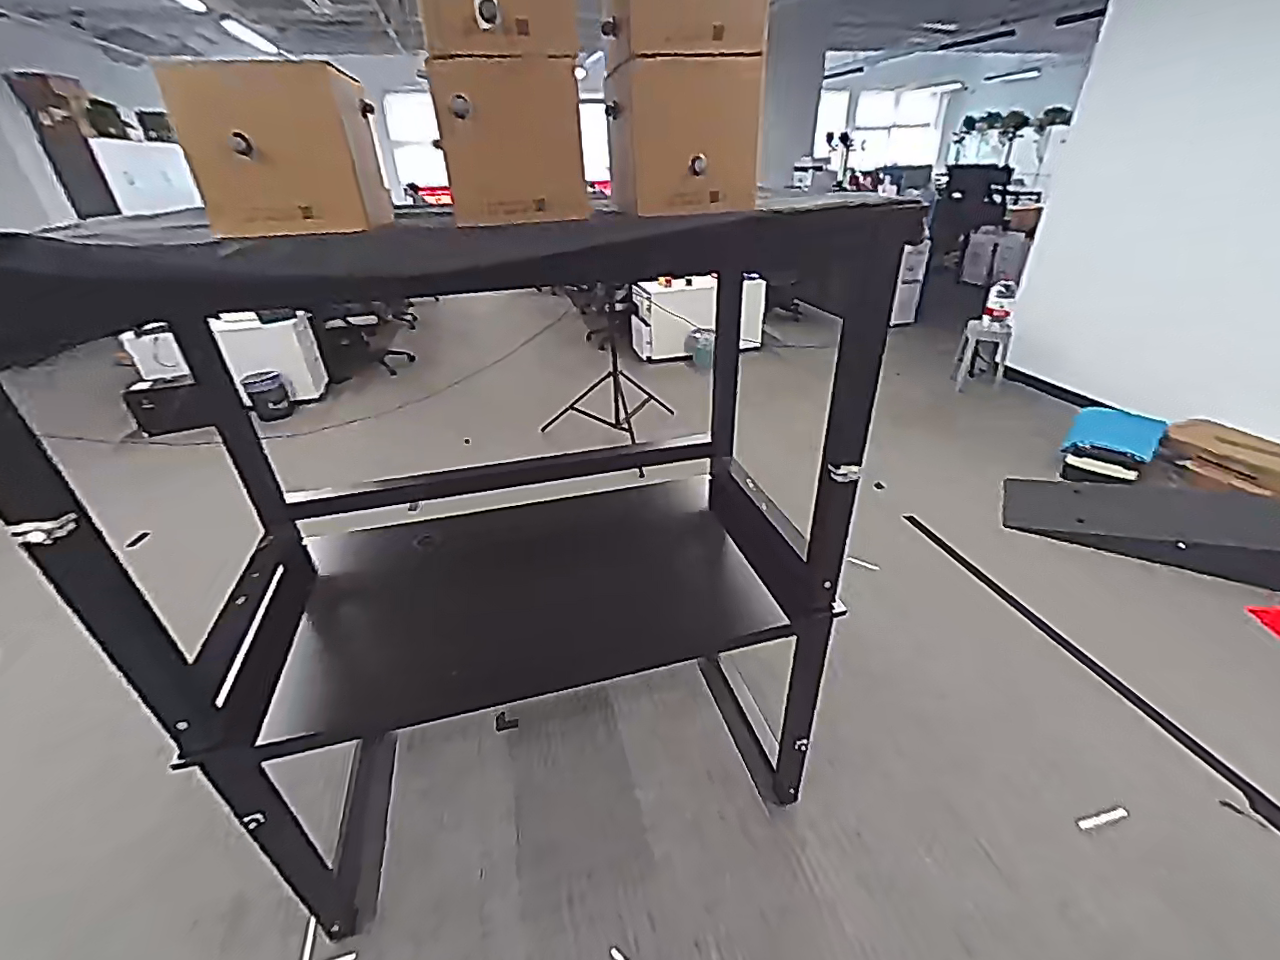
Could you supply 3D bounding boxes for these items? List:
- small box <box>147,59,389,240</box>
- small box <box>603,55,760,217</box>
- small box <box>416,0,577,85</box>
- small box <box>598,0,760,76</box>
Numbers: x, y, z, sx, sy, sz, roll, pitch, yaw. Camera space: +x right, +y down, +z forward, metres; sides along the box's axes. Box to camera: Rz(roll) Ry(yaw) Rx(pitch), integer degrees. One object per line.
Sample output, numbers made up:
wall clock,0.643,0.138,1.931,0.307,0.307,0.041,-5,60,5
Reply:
small box,-0.422,-0.388,0.655,0.168,0.176,0.179,-8,30,-10
small box,0.048,-0.457,0.735,0.168,0.176,0.179,-10,31,-10
small box,-0.173,-0.568,0.621,0.168,0.176,0.179,-11,31,-12
small box,0.042,-0.600,0.654,0.168,0.176,0.179,-8,31,-10
